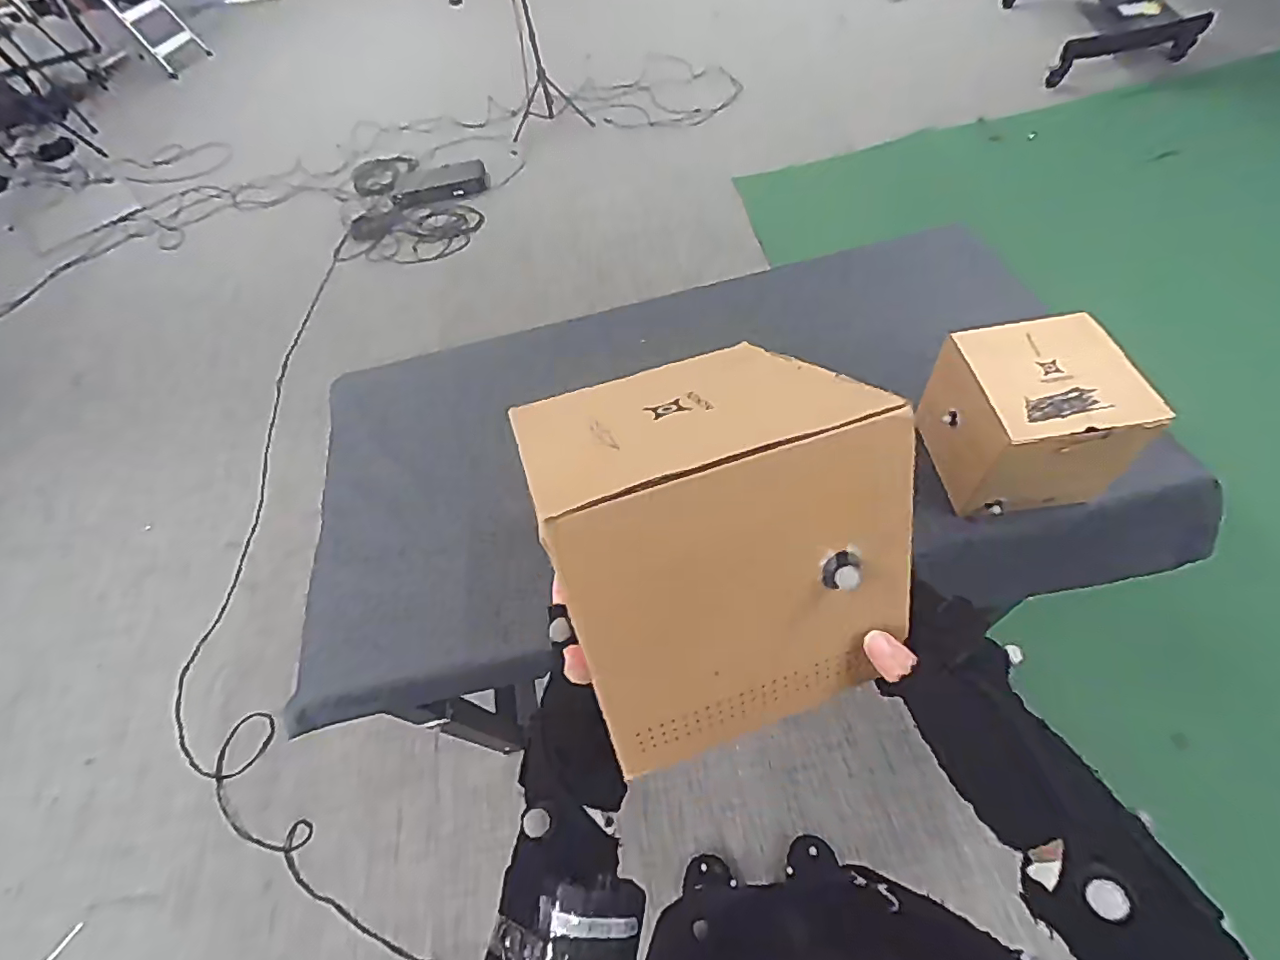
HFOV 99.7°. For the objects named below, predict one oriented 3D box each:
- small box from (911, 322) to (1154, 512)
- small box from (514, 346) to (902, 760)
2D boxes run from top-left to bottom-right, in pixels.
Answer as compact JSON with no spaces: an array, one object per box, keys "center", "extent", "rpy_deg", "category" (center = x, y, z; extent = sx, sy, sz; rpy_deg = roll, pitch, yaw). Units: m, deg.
[{"center":[0.477,-0.071,0.694],"extent":[0.168,0.176,0.179],"rpy_deg":[-7,55,5],"category":"small box"},{"center":[0.035,0.031,0.343],"extent":[0.179,0.176,0.168],"rpy_deg":[-19,27,-11],"category":"small box"}]
